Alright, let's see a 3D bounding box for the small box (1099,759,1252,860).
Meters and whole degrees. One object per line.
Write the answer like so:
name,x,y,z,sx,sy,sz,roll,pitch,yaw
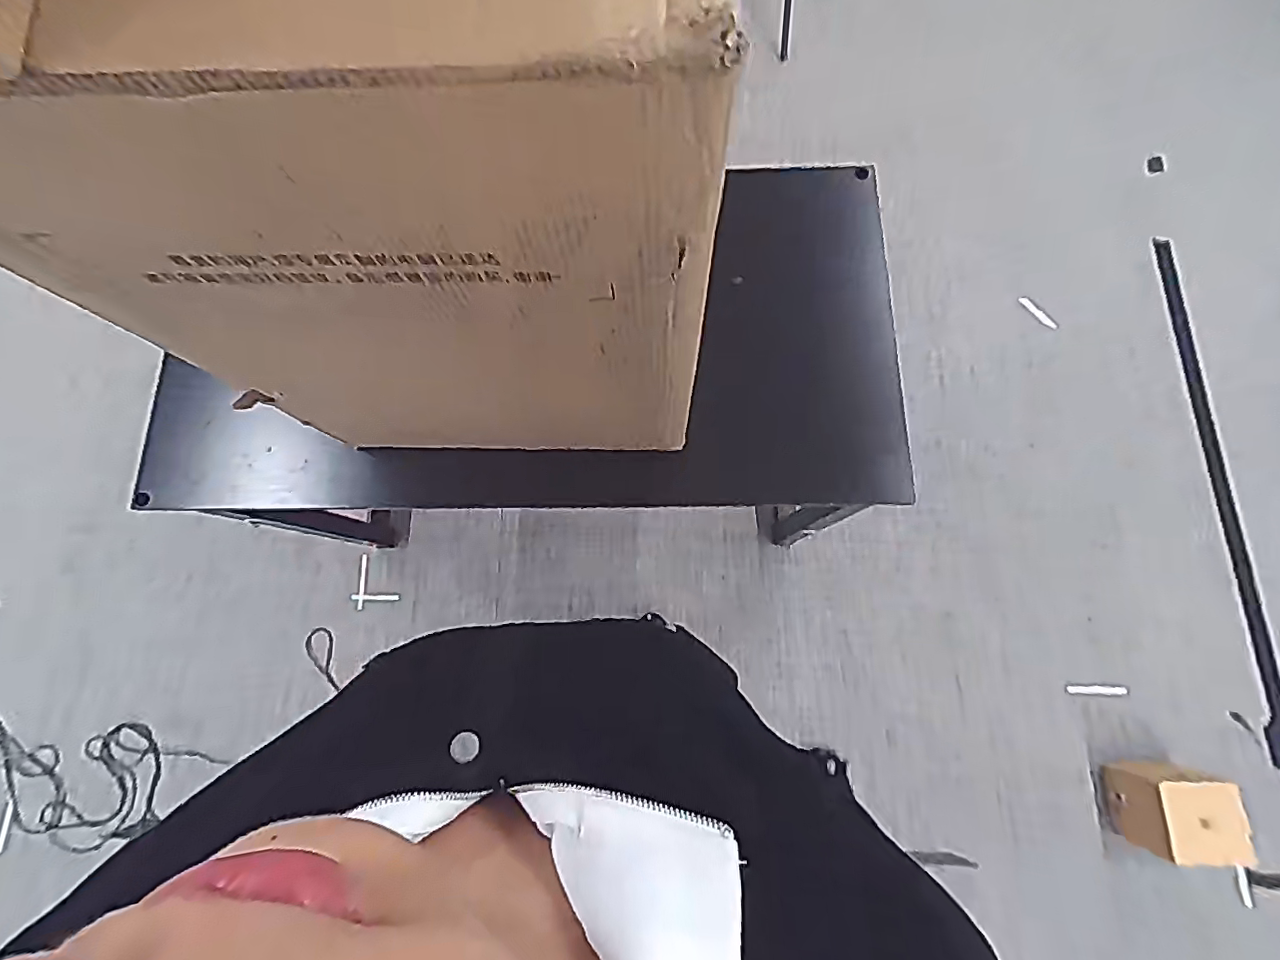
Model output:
small box,1.251,0.768,1.277,0.179,0.176,0.168,-2,76,2
